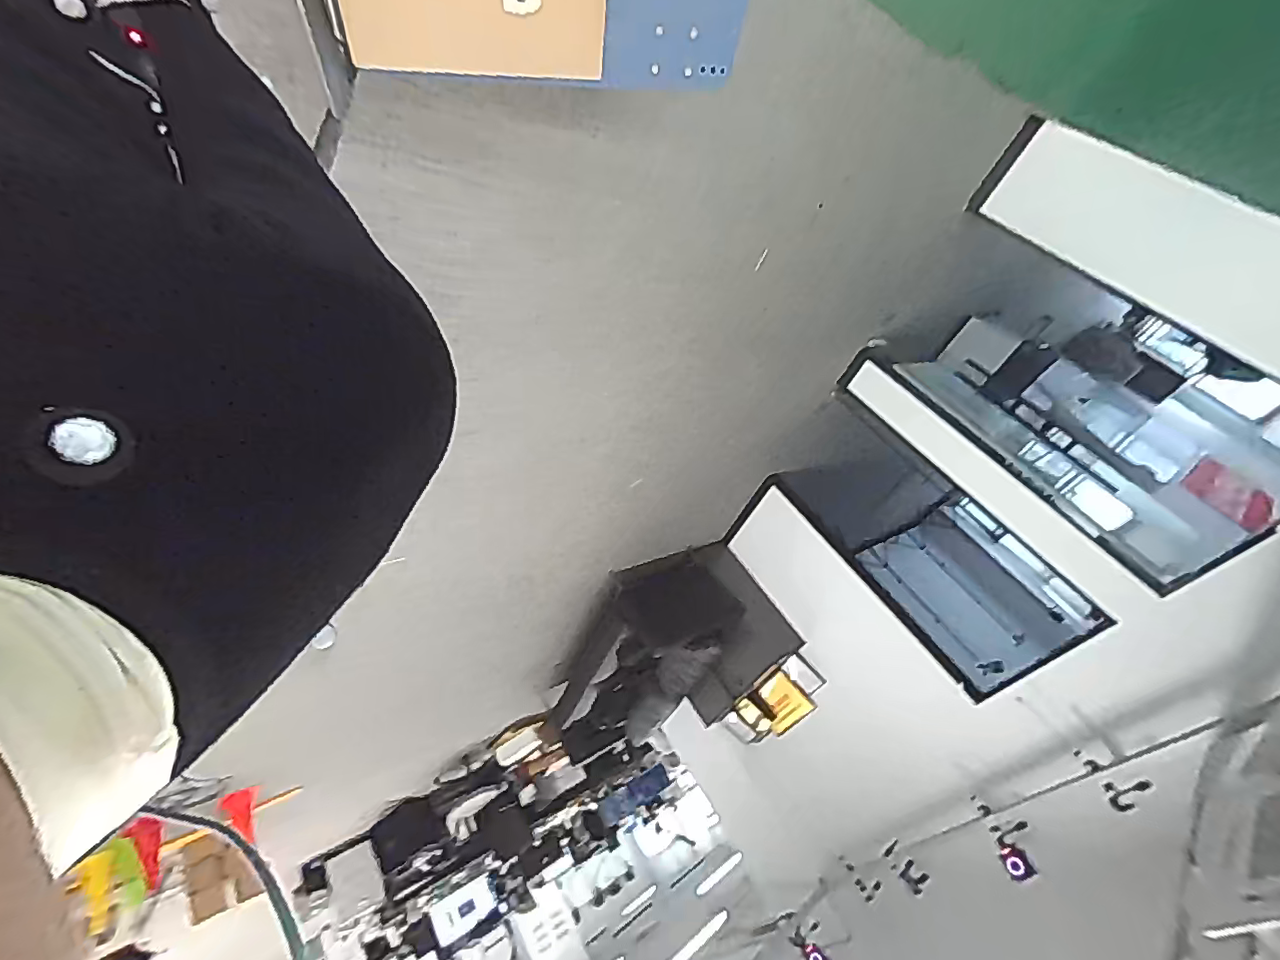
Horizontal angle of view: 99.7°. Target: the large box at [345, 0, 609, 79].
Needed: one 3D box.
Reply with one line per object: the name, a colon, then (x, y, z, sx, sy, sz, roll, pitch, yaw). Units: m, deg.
large box: (-0.276, -0.886, 0.871, 0.408, 0.320, 0.320, -9, 144, -15)
